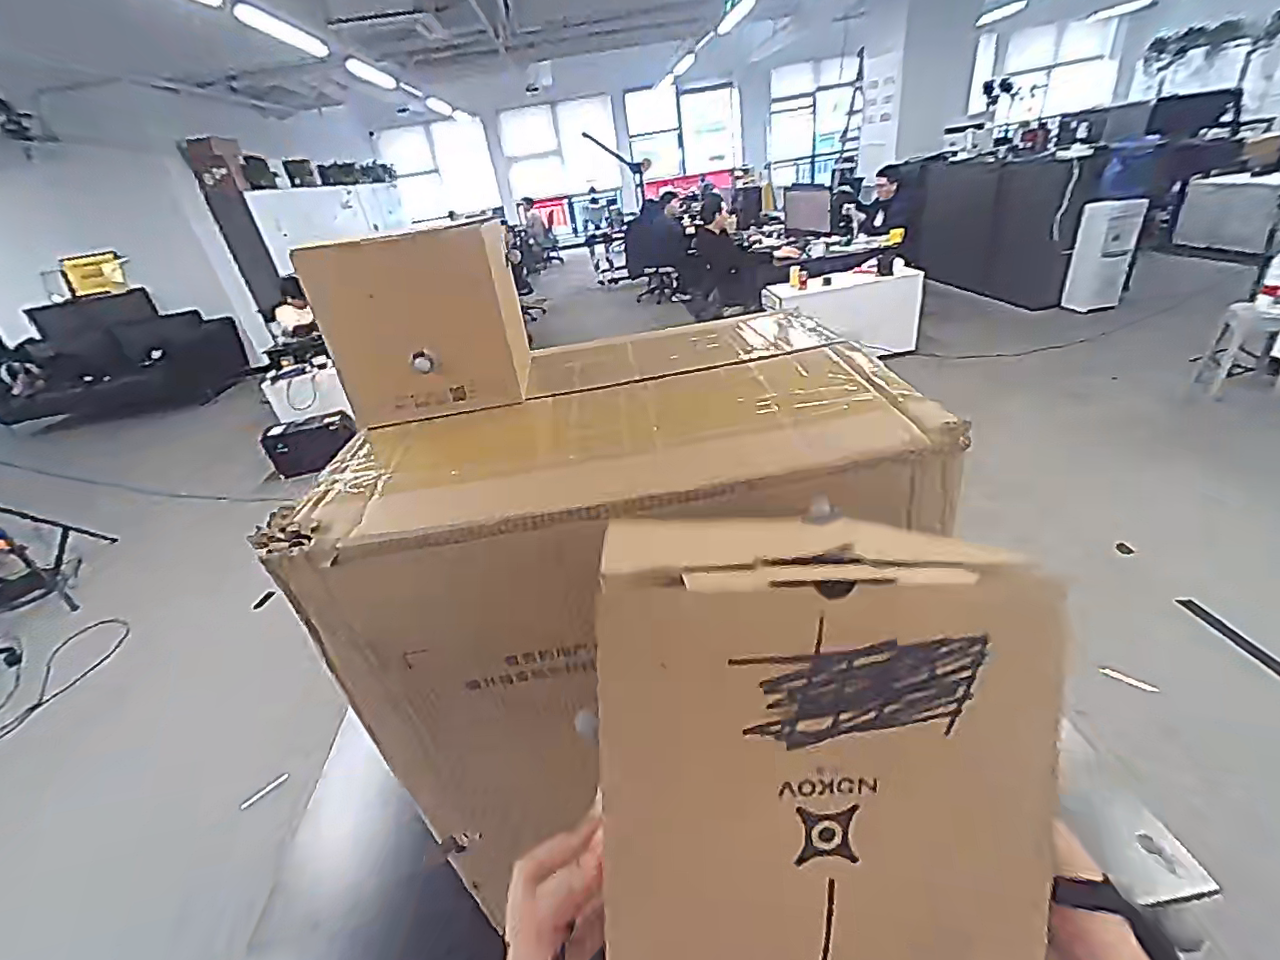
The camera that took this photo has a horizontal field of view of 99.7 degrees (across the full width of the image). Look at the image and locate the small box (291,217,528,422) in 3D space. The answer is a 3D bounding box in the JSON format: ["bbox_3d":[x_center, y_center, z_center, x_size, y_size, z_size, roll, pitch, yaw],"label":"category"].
[{"bbox_3d":[-0.221,-0.176,0.577,0.168,0.176,0.179,-11,28,-3],"label":"small box"}]

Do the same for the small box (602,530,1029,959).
[{"bbox_3d":[0.063,0.118,0.286,0.168,0.179,0.176,-1,0,-1],"label":"small box"}]
